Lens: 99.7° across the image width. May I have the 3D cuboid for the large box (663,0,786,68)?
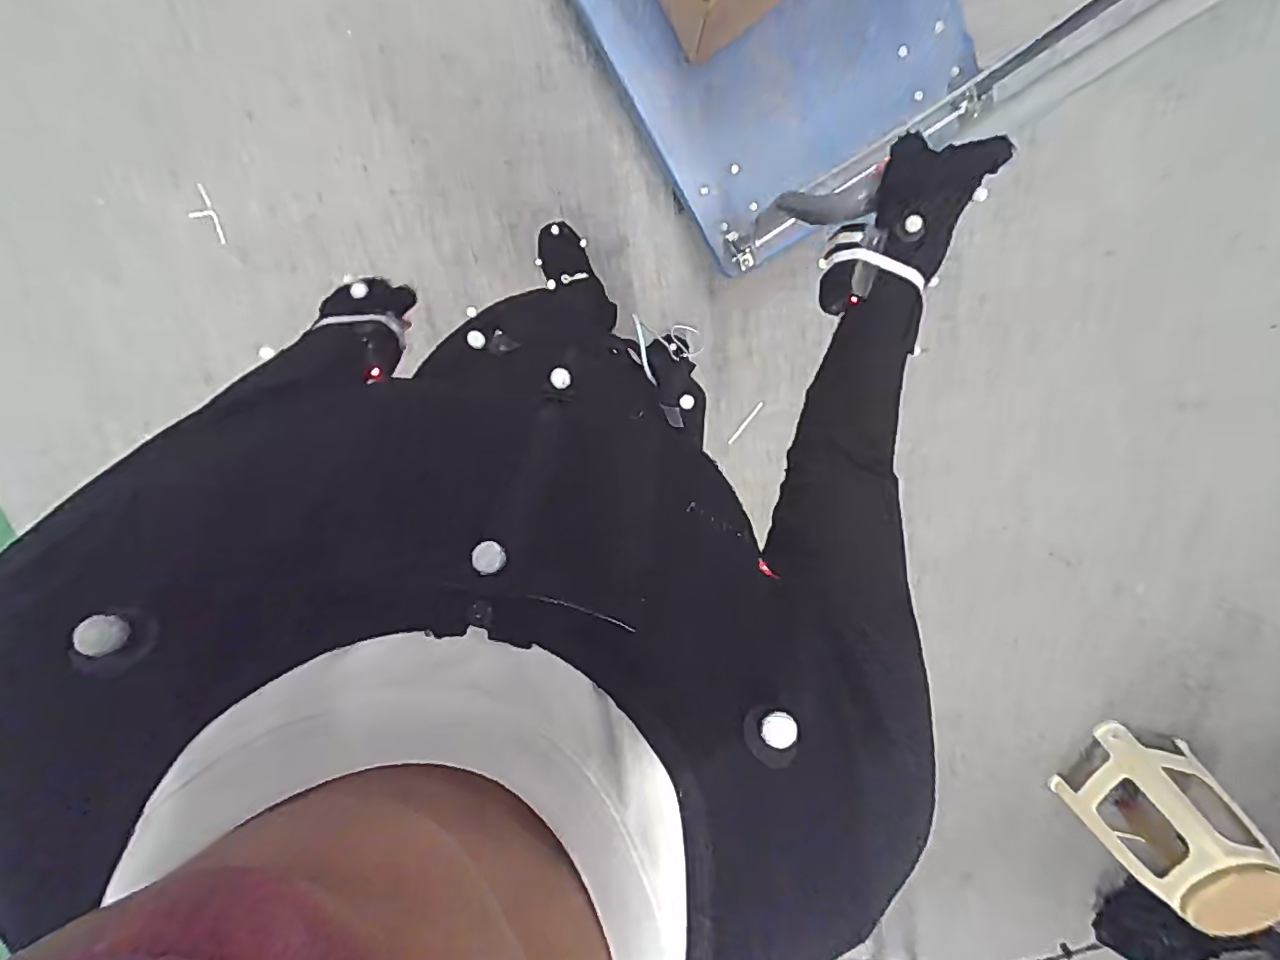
[{"bbox_3d":[0.190,-0.932,0.793,0.408,0.320,0.320,-32,108,14],"label":"large box"}]
